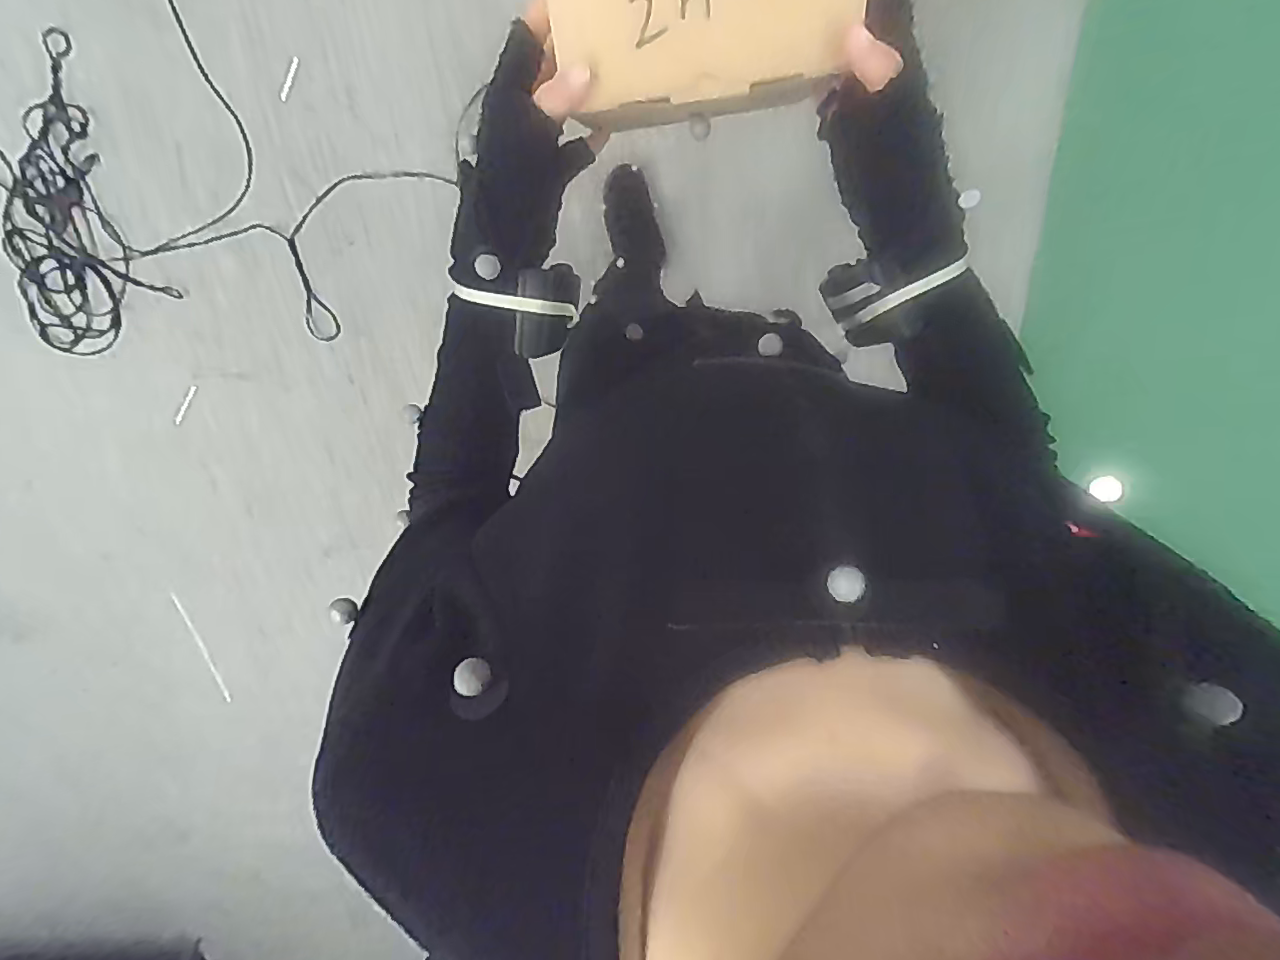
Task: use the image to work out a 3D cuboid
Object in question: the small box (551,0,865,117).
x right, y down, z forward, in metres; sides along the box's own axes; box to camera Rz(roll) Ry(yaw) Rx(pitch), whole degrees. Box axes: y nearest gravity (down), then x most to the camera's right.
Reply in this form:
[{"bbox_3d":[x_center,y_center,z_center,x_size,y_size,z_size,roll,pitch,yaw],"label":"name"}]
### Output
[{"bbox_3d":[0.031,-0.341,0.324,0.168,0.176,0.179,-5,118,6],"label":"small box"}]
